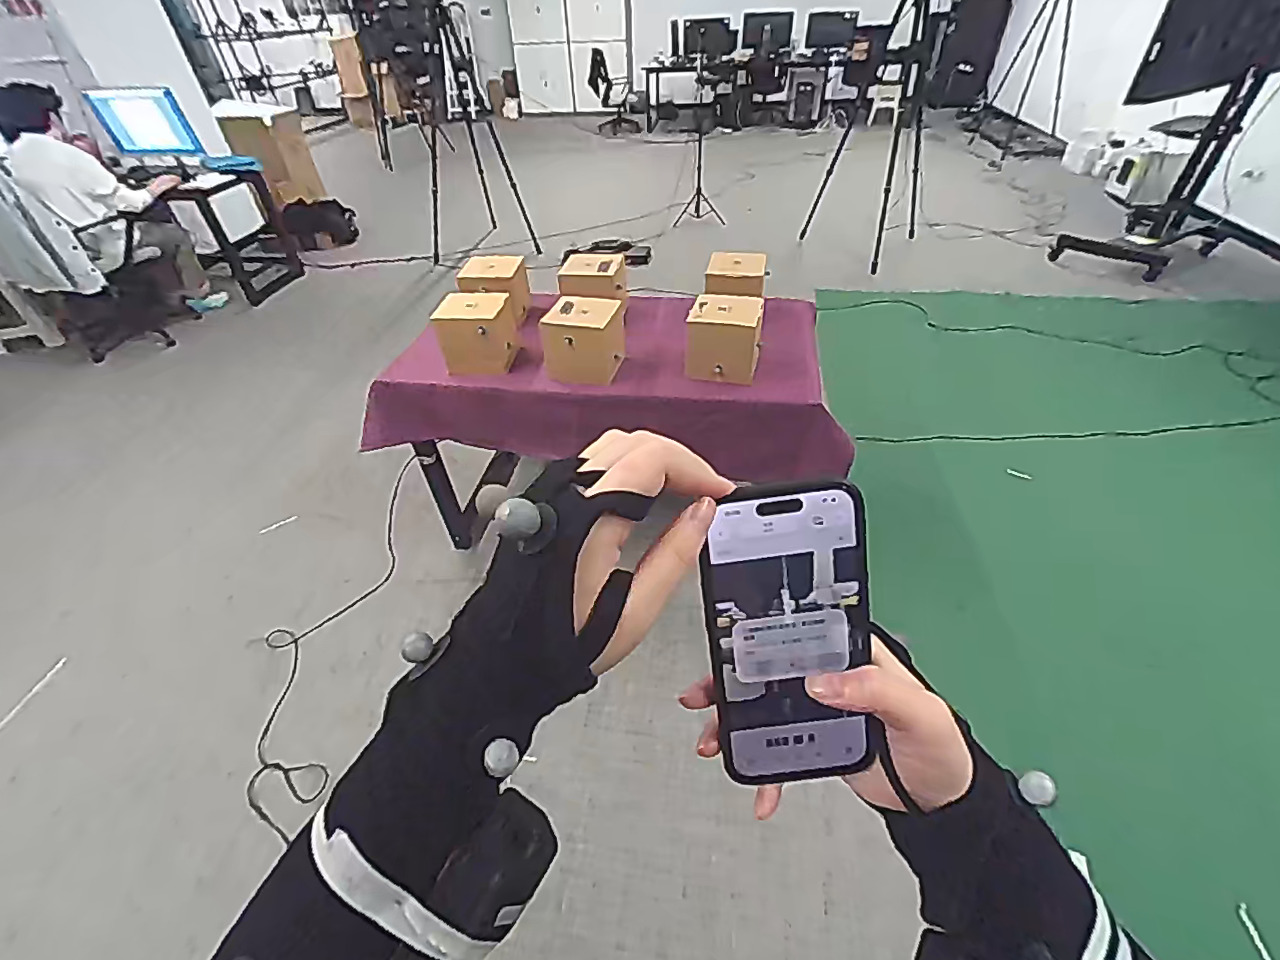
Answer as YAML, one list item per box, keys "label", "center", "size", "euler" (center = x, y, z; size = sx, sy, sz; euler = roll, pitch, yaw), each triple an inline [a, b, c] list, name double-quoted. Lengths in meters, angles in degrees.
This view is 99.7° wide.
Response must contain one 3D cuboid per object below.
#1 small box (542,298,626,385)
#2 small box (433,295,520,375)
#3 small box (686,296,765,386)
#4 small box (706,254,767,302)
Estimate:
- label: "small box"
  center: [-0.145, -0.373, 1.463]
  size: [0.179, 0.176, 0.168]
  euler: [9, 43, 12]
- label: "small box"
  center: [-0.451, -0.407, 1.520]
  size: [0.179, 0.176, 0.168]
  euler: [2, 42, 3]
- label: "small box"
  center: [0.225, -0.367, 1.432]
  size: [0.179, 0.176, 0.168]
  euler: [10, 43, 13]
- label: "small box"
  center: [0.292, -0.574, 1.658]
  size: [0.168, 0.176, 0.179]
  euler: [7, 43, 12]
